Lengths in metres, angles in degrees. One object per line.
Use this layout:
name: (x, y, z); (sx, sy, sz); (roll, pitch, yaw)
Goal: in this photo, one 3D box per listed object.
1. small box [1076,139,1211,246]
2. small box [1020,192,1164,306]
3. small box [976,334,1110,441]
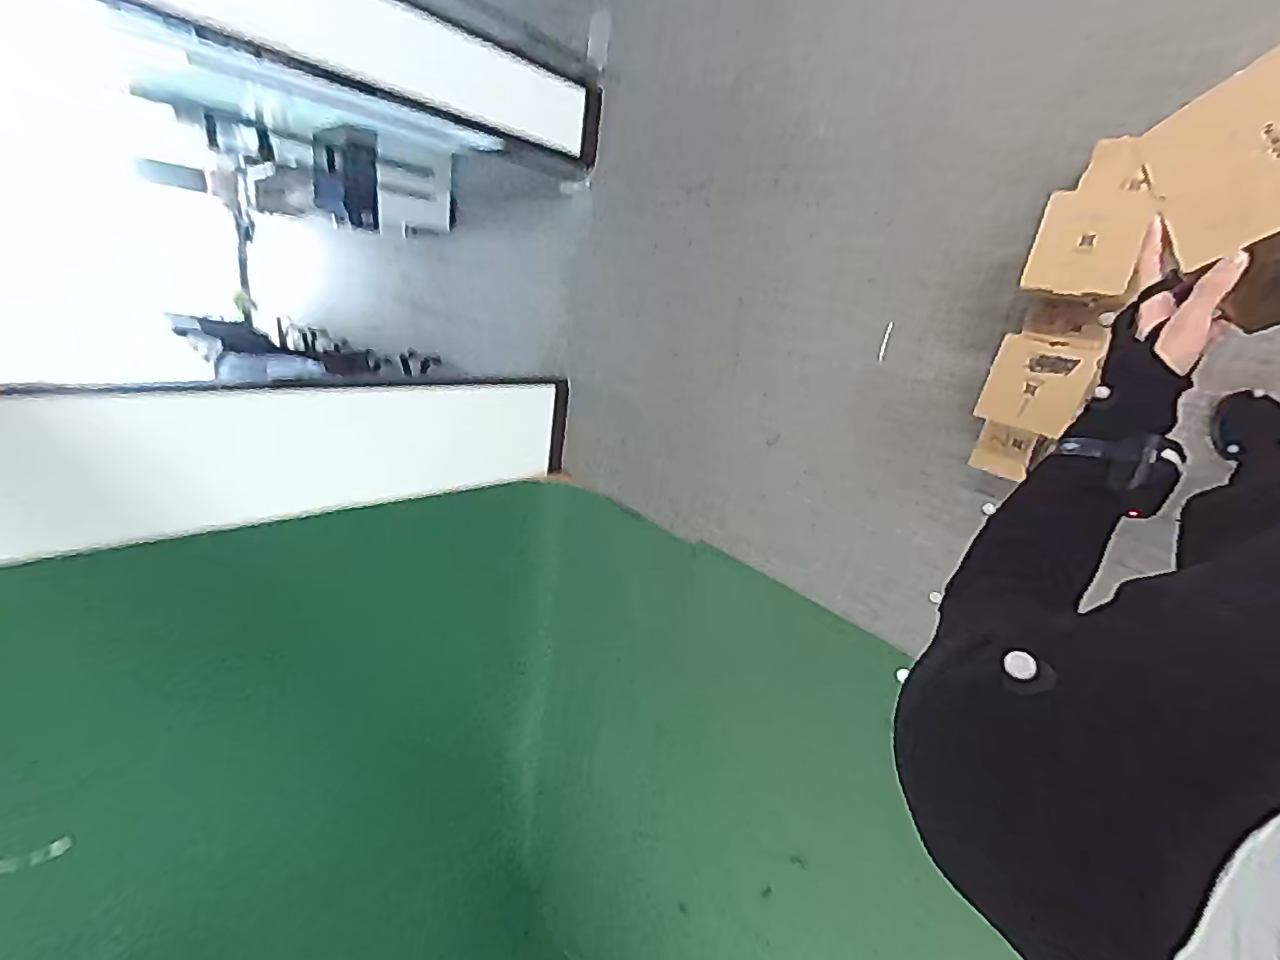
small box: (1.018, -0.584, 1.112); (0.179, 0.176, 0.168); (27, 116, 40)
small box: (0.876, -0.441, 1.047); (0.168, 0.176, 0.179); (24, 112, 40)
small box: (0.840, -0.195, 1.126); (0.168, 0.176, 0.179); (29, 117, 39)
